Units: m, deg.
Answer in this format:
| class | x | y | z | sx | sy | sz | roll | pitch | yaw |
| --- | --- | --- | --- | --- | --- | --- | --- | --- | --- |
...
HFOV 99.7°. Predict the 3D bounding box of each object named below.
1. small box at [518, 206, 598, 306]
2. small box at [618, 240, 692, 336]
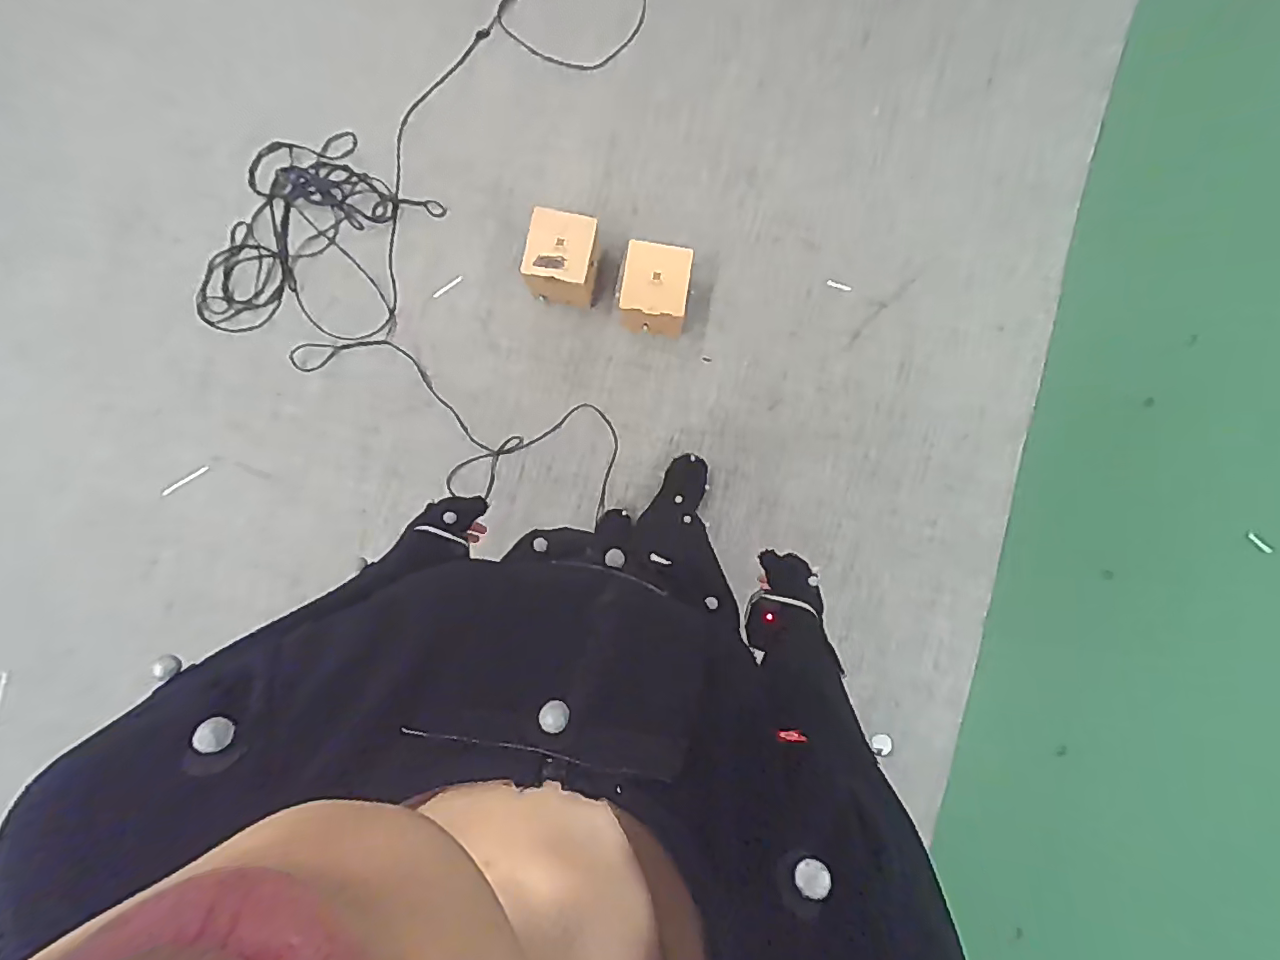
| class | x | y | z | sx | sy | sz | roll | pitch | yaw |
| --- | --- | --- | --- | --- | --- | --- | --- | --- | --- |
| small box | -0.207 | -0.578 | 1.420 | 0.168 | 0.176 | 0.179 | 12 | 87 | 0 |
| small box | 0.035 | -0.498 | 1.423 | 0.168 | 0.176 | 0.179 | 9 | 89 | 0 |
